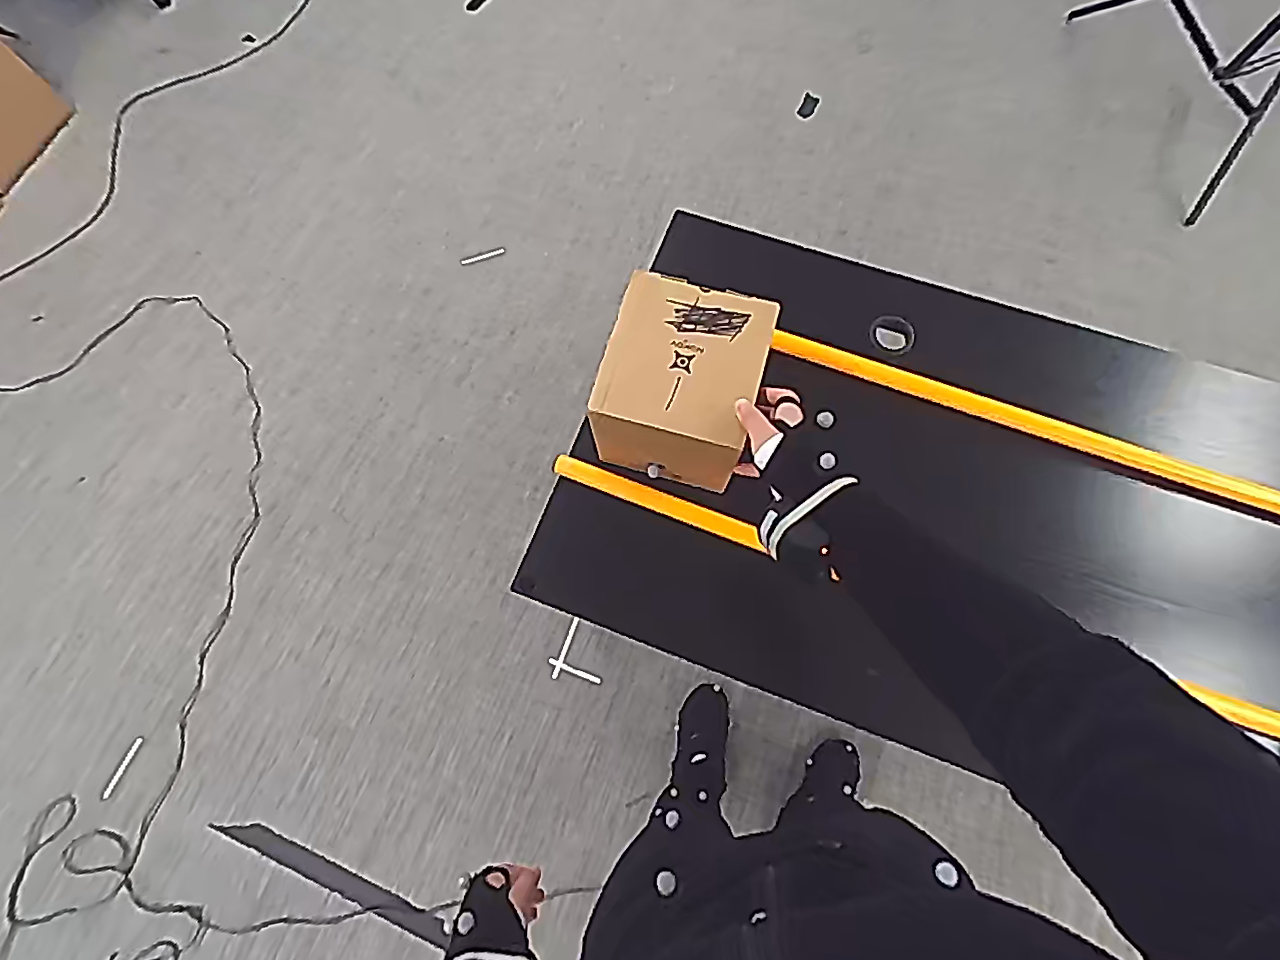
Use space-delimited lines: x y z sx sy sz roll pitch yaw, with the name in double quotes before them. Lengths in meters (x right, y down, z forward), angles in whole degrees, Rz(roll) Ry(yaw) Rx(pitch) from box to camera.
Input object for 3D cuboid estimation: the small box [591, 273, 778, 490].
"small box" 0.051 -0.107 0.647 0.168 0.176 0.179 15 75 6
